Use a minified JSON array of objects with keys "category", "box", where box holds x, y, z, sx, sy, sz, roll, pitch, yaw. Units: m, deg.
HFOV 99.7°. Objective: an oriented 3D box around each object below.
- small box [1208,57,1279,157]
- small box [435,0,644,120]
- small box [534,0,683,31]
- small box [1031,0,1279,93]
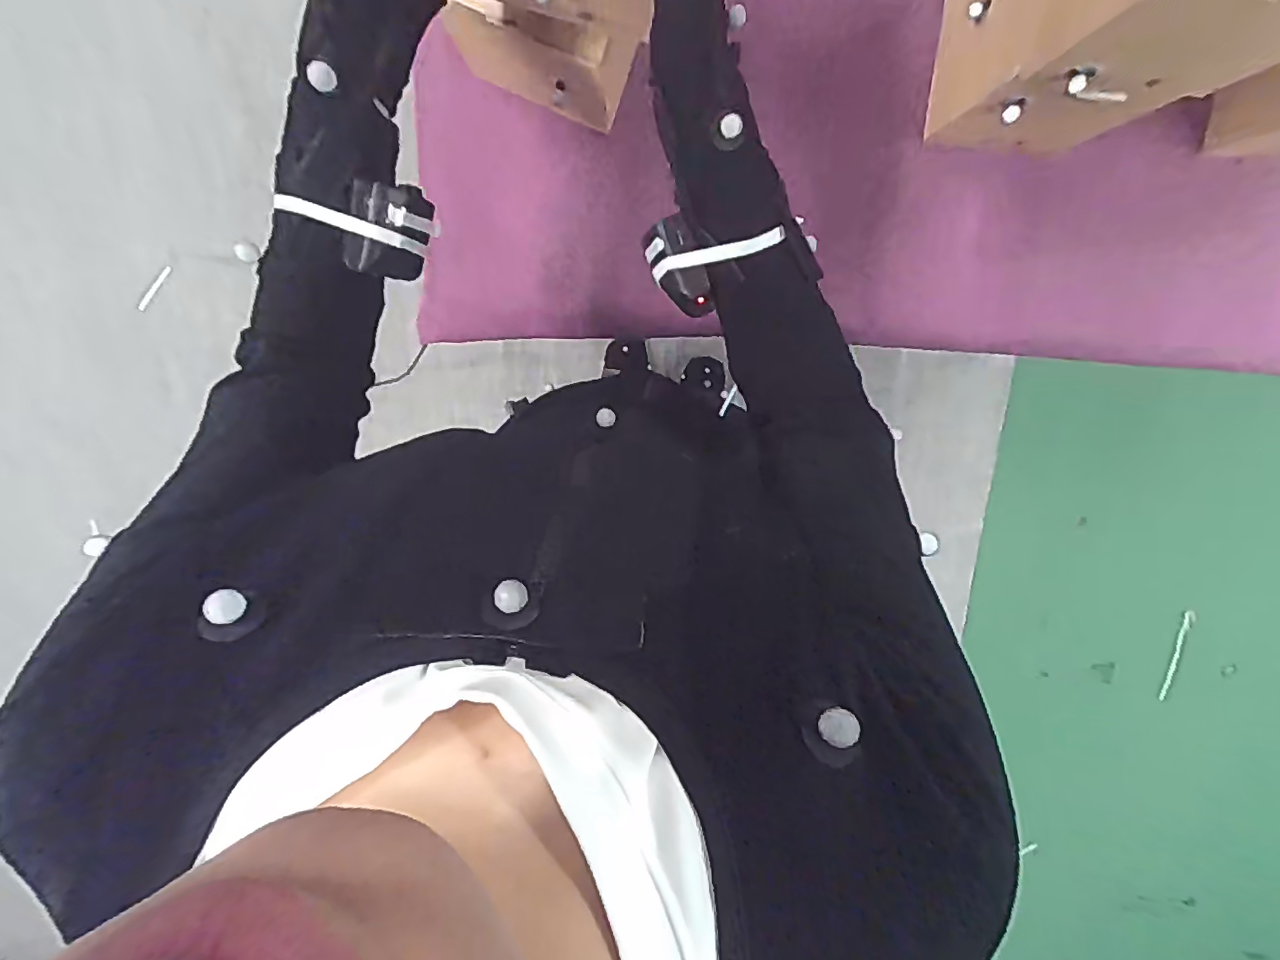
[{"category":"small box","box":[0.739,-0.444,0.536,0.168,0.176,0.179,-1,106,1]},{"category":"small box","box":[-0.076,-0.482,0.505,0.168,0.176,0.179,21,104,-6]},{"category":"small box","box":[-0.037,-0.420,0.330,0.168,0.176,0.179,10,112,-3]},{"category":"small box","box":[0.418,-0.402,0.375,0.168,0.176,0.179,2,104,-1]}]
